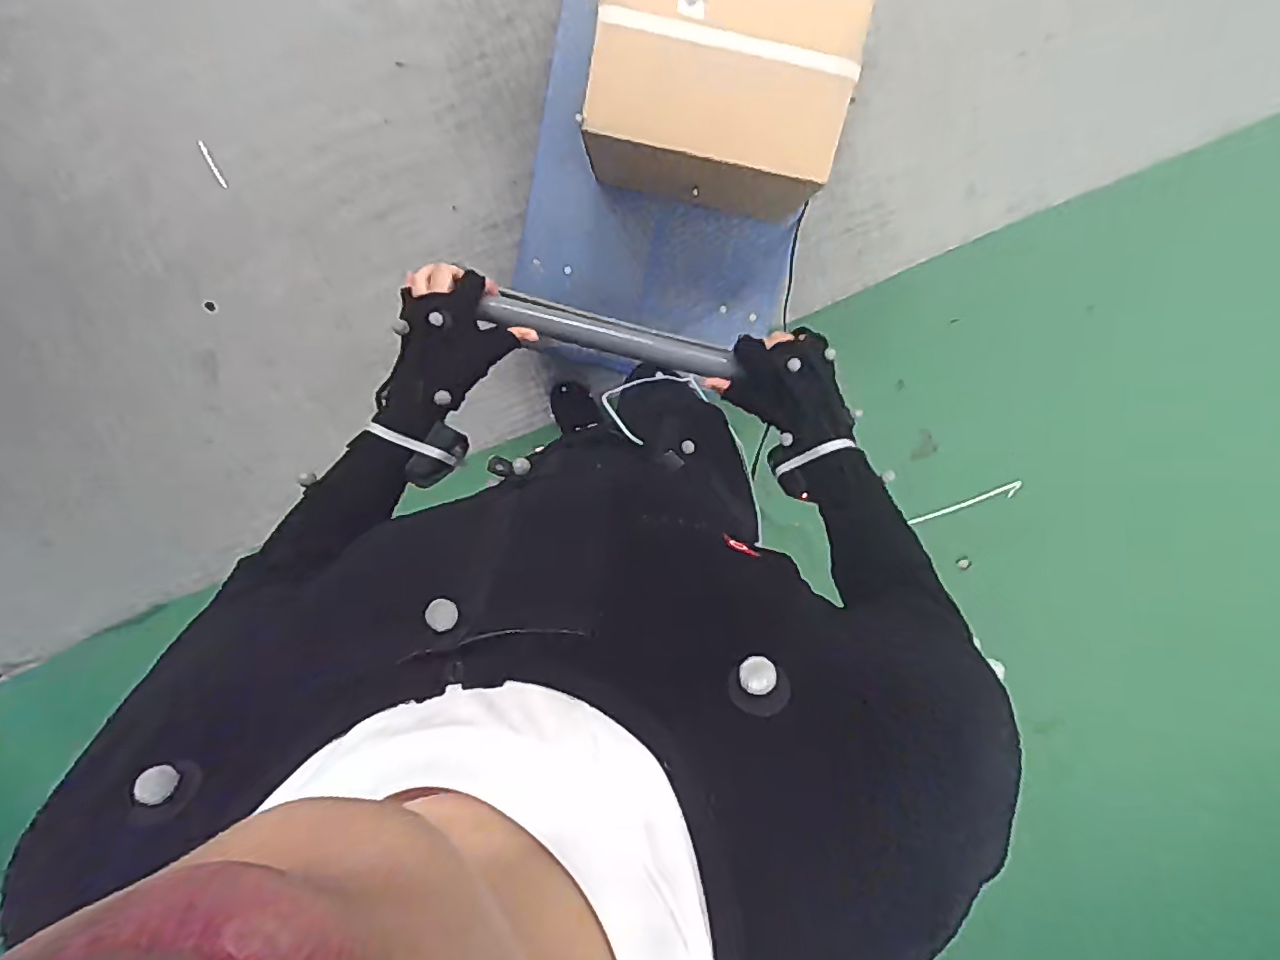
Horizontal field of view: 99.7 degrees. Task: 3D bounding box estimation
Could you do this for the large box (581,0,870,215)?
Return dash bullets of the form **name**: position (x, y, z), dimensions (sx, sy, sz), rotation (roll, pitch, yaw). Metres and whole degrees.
- **large box**: position (0.135, -0.698, 0.960), dimensions (0.408, 0.320, 0.320), rotation (12, 104, -1)
